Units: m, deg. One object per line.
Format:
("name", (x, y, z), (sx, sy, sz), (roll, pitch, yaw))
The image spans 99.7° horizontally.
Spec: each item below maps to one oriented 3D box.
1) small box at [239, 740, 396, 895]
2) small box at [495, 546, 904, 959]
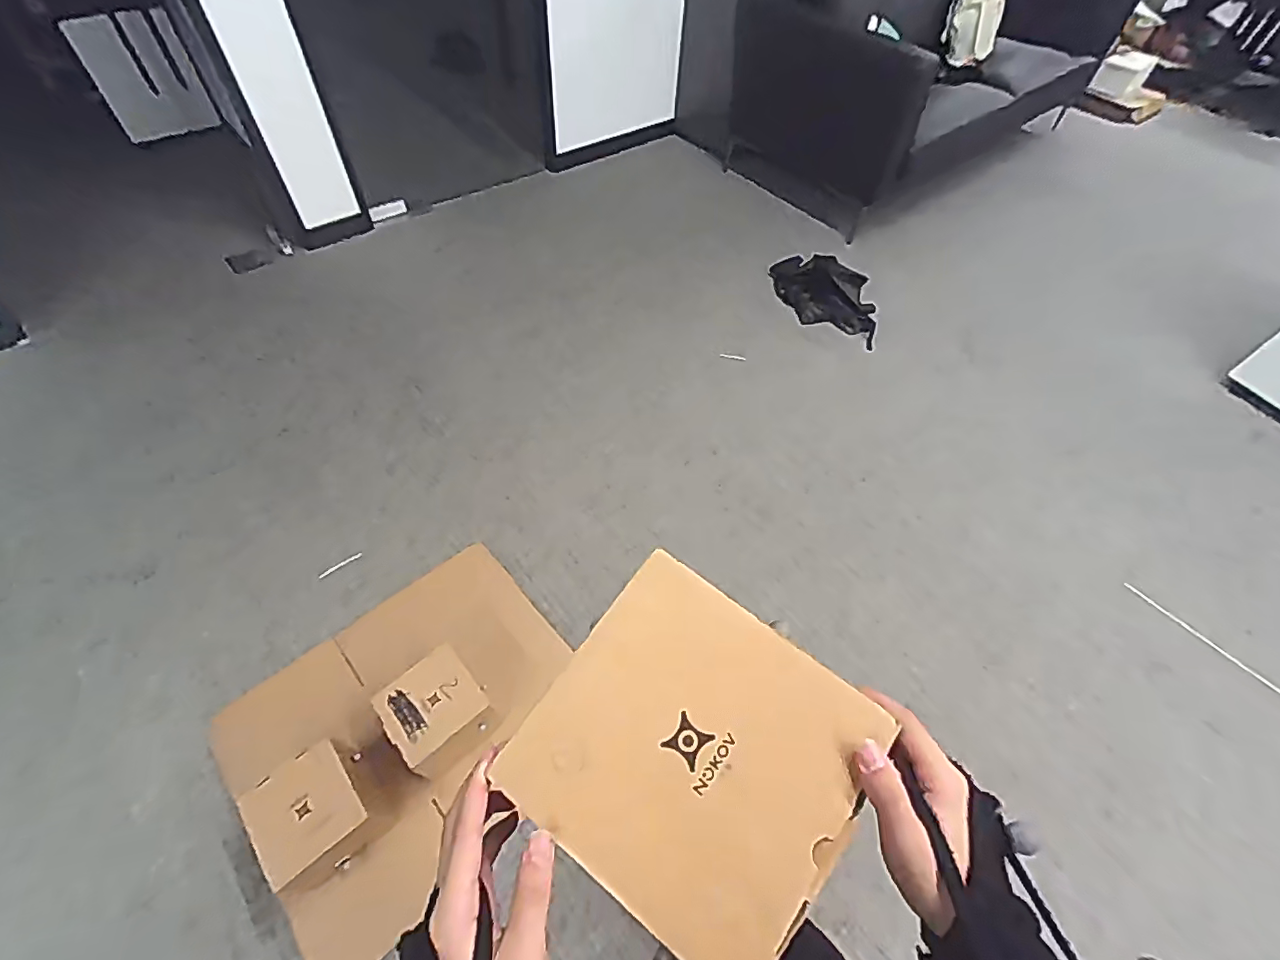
("small box", (-0.588, 0.625, 1.004), (0.168, 0.176, 0.179), (-35, 64, -24))
("small box", (0.035, 0.179, 0.377), (0.179, 0.176, 0.168), (35, 72, 15))
